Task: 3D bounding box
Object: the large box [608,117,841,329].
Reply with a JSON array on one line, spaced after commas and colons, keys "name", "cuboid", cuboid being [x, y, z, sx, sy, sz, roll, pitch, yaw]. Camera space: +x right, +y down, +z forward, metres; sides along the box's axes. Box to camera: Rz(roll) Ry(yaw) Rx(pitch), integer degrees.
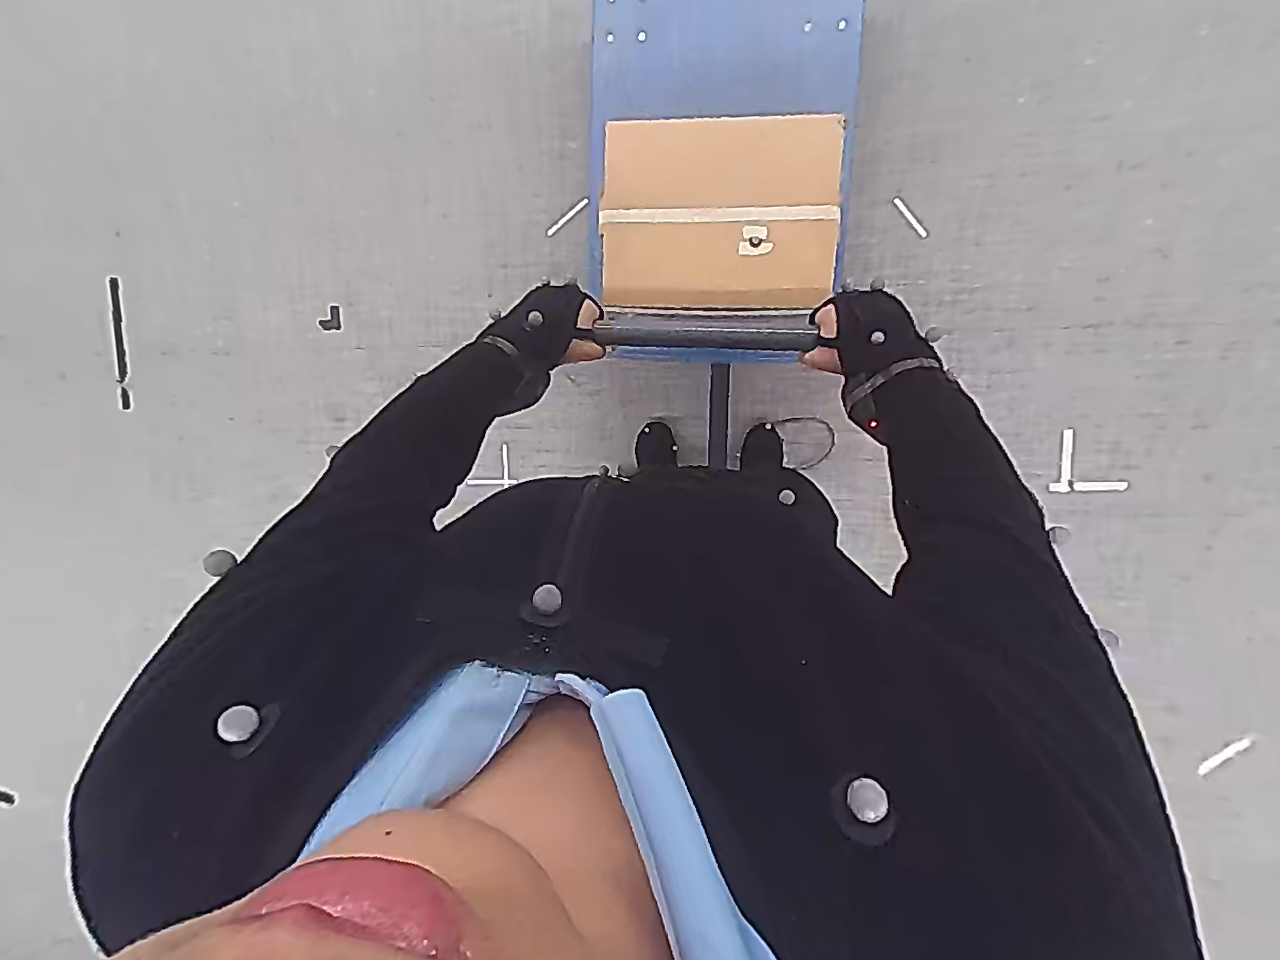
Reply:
[{"name": "large box", "cuboid": [0.155, -0.486, 1.098, 0.408, 0.320, 0.320, 2, 99, 6]}]
